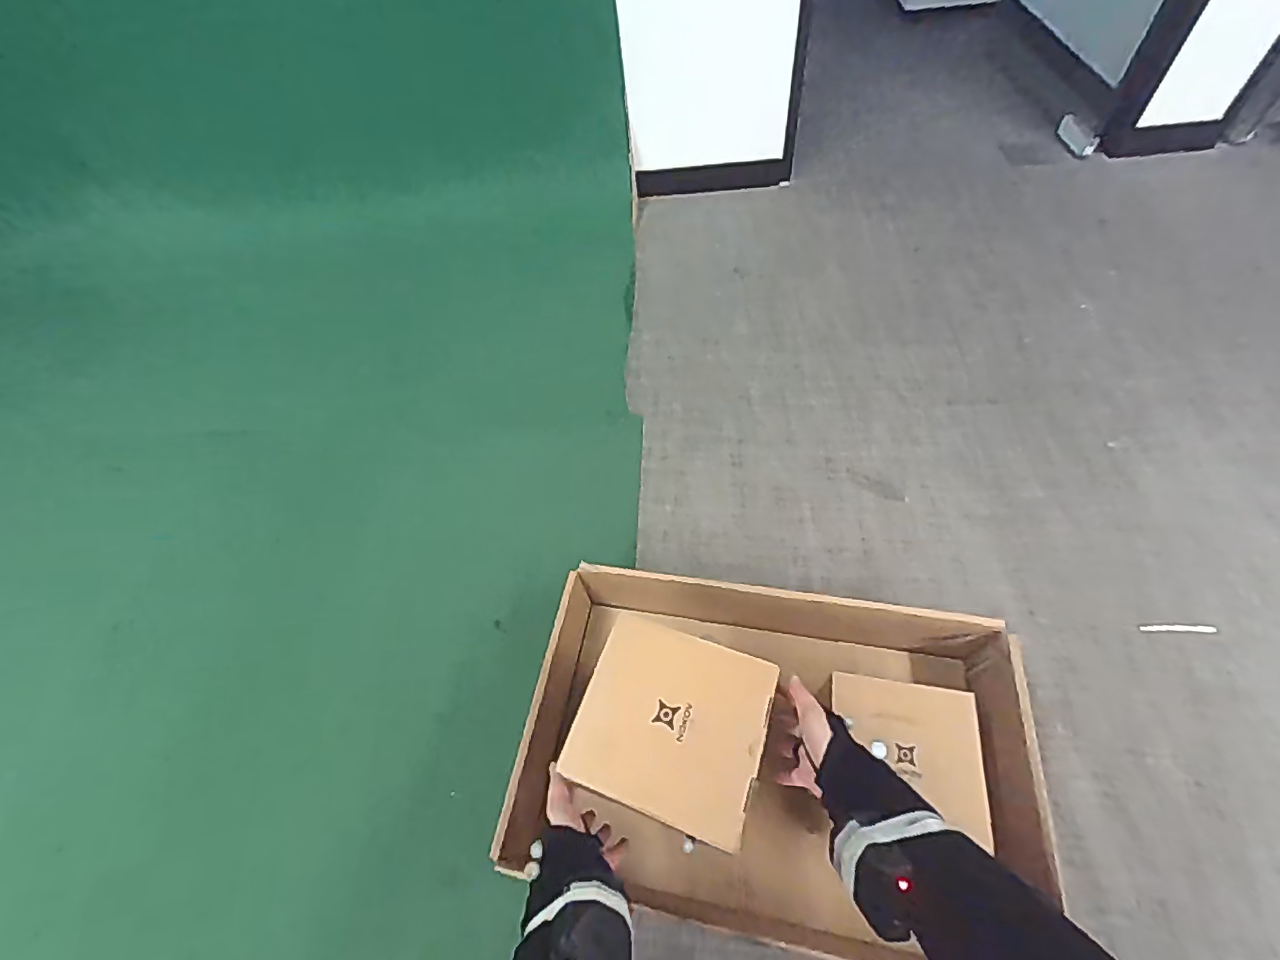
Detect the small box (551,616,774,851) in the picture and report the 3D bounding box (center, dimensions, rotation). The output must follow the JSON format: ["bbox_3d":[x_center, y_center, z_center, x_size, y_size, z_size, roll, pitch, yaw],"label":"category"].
[{"bbox_3d":[0.030,0.275,0.582,0.179,0.176,0.168,15,59,14],"label":"small box"}]
